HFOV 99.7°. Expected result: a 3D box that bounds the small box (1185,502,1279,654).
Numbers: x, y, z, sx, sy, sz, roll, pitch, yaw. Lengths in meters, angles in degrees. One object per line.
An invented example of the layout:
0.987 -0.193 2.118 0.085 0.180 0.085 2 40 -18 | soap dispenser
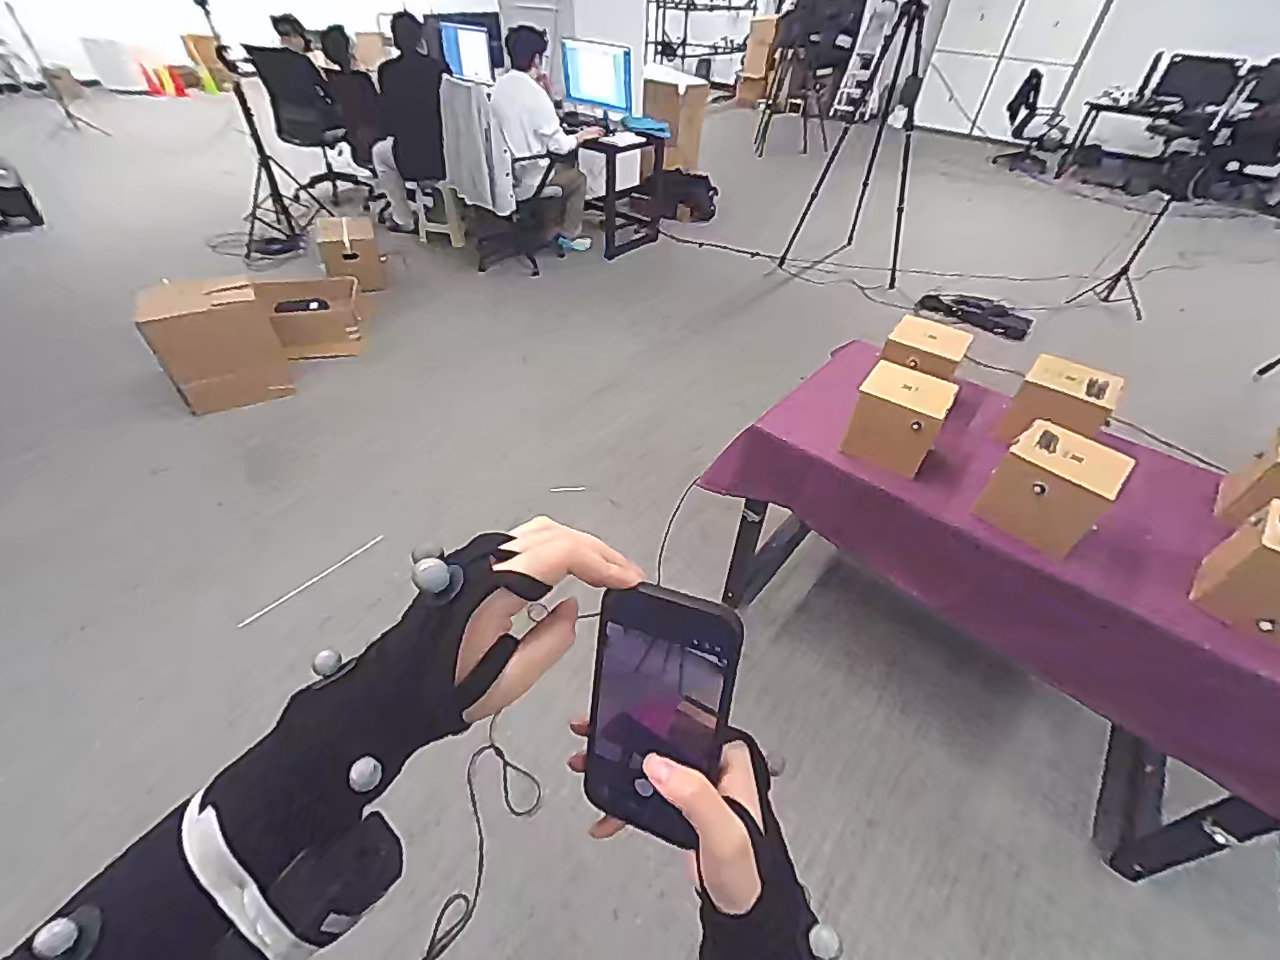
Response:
1.107 0.176 0.921 0.168 0.176 0.179 -30 52 -32 | small box

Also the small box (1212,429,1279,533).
1.324 0.030 1.094 0.168 0.176 0.179 34 51 30 | small box

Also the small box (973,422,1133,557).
0.805 0.020 1.070 0.168 0.176 0.179 -31 54 -32 | small box

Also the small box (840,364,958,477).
0.578 -0.133 1.221 0.179 0.176 0.168 28 47 22 | small box
